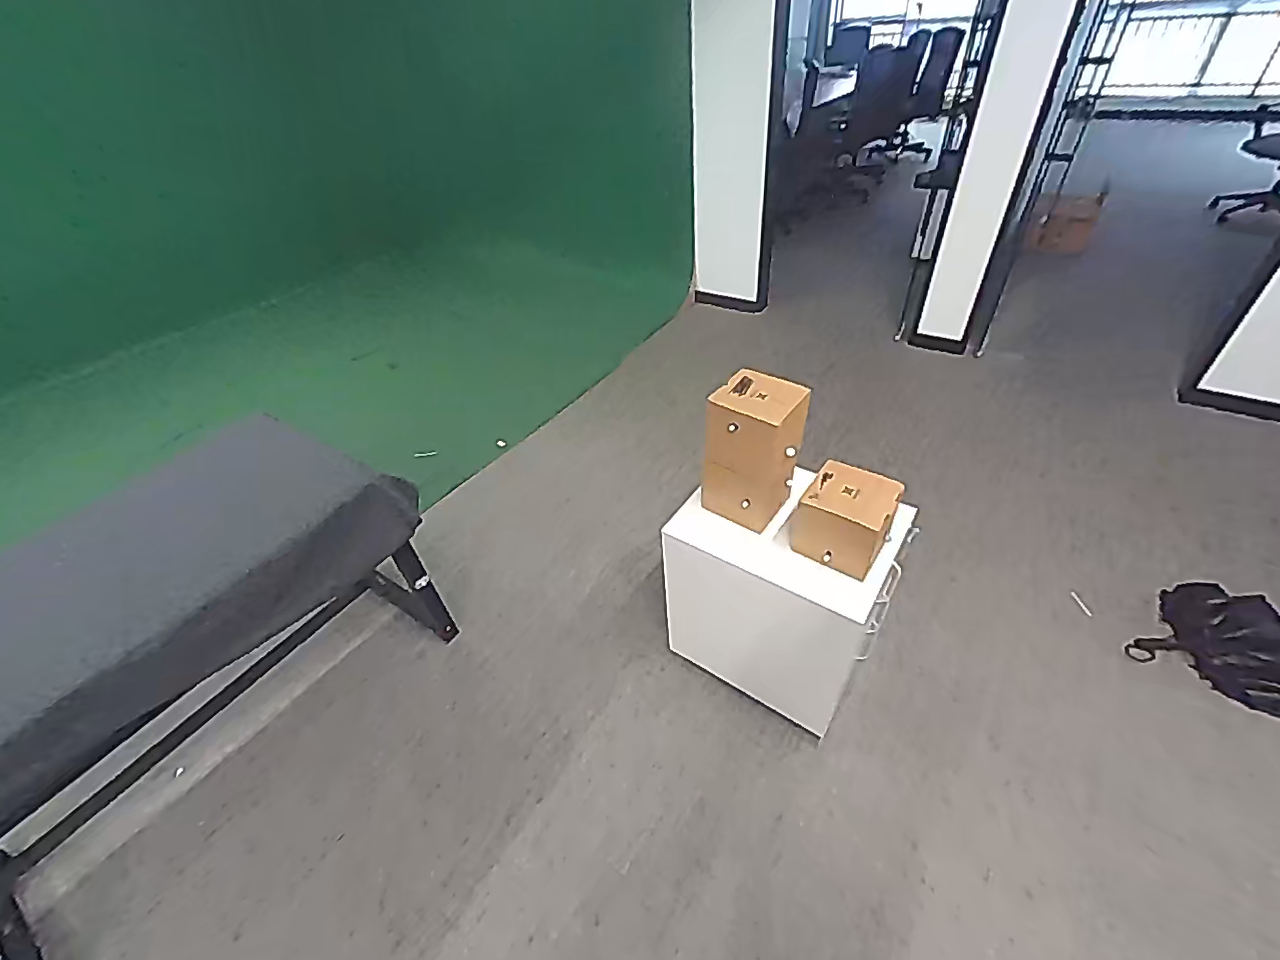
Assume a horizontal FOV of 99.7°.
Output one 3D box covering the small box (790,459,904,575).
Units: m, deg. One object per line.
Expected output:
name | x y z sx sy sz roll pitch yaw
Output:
small box | 0.462 0.087 1.222 0.179 0.176 0.168 25 50 28

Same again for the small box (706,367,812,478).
small box | 0.265 -0.130 1.235 0.179 0.176 0.168 26 50 27

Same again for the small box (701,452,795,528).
small box | 0.266 -0.007 1.345 0.179 0.176 0.168 24 48 28
